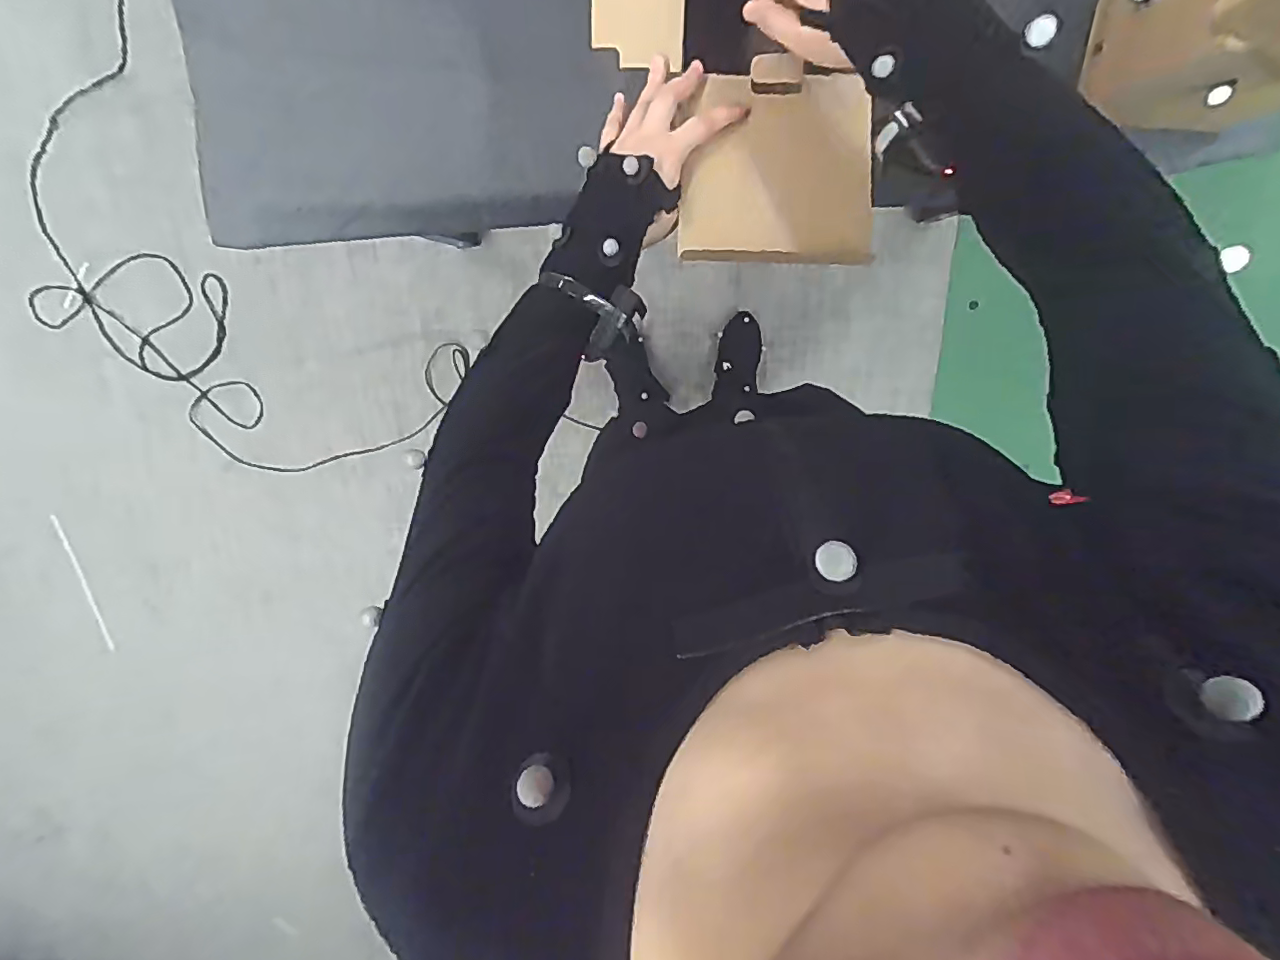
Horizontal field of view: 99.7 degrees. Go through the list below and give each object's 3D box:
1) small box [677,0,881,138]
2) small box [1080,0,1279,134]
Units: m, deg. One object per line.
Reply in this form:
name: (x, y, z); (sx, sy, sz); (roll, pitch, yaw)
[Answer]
small box: (0.122, -0.444, 0.514); (0.168, 0.176, 0.179); (1, 107, 2)
small box: (0.565, -0.442, 0.499); (0.179, 0.176, 0.168); (4, 105, 1)
